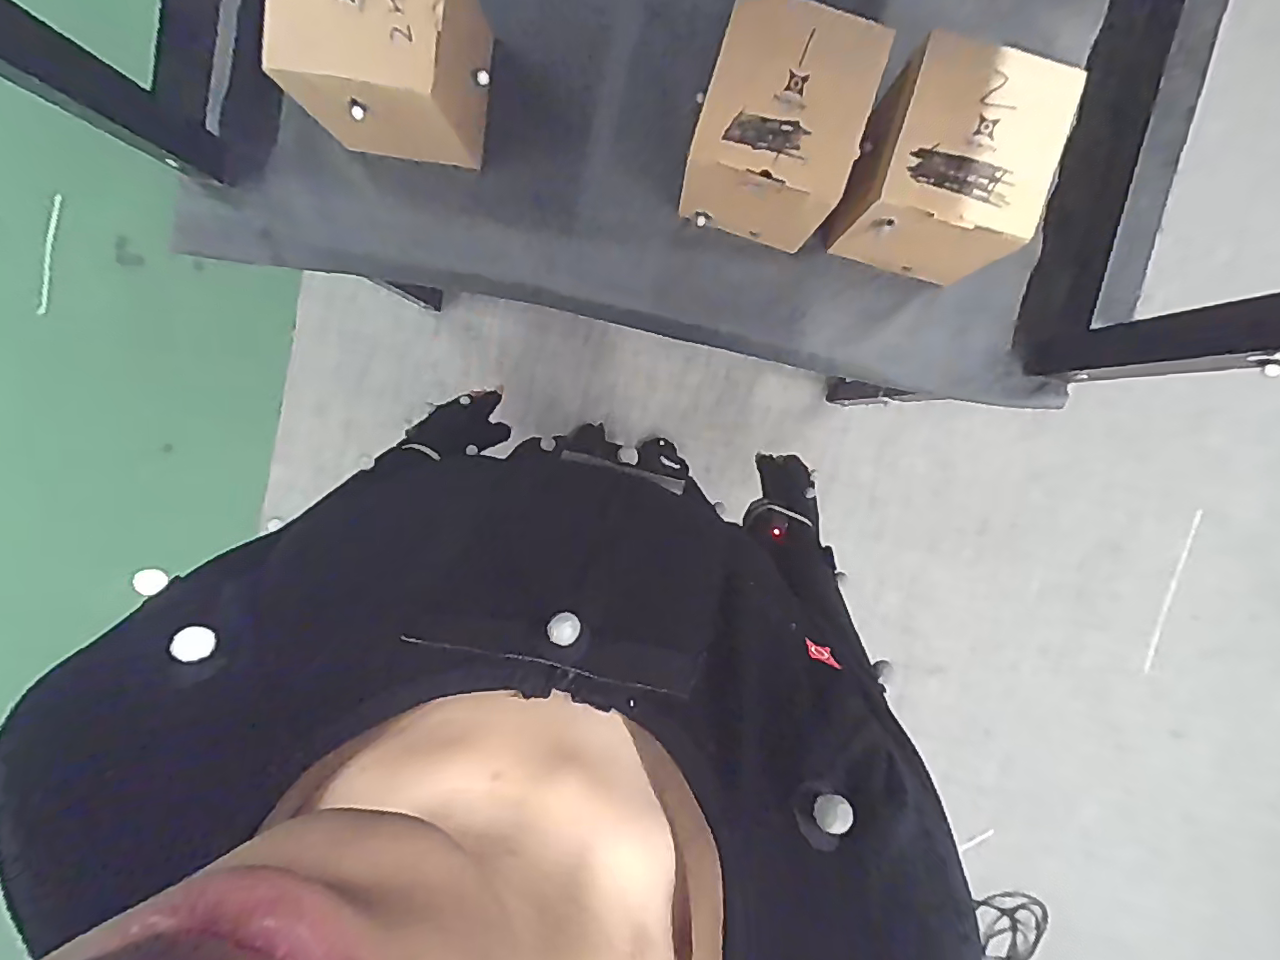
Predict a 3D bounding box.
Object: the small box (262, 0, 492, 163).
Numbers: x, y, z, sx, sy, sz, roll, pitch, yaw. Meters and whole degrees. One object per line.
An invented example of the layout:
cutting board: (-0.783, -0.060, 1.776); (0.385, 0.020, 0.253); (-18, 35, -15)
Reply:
small box: (-0.285, -0.492, 0.617); (0.179, 0.176, 0.168); (8, 97, -2)
